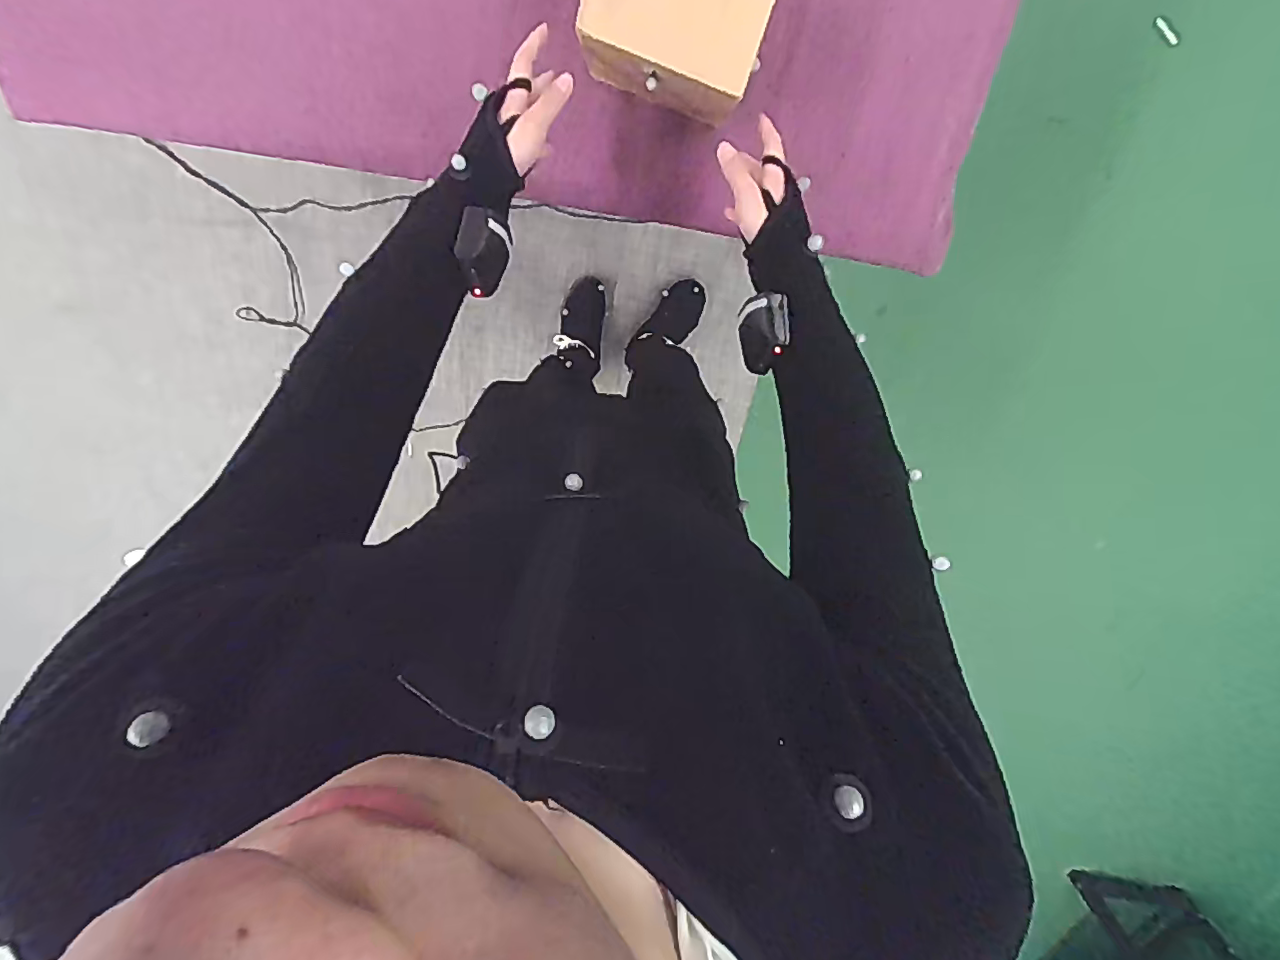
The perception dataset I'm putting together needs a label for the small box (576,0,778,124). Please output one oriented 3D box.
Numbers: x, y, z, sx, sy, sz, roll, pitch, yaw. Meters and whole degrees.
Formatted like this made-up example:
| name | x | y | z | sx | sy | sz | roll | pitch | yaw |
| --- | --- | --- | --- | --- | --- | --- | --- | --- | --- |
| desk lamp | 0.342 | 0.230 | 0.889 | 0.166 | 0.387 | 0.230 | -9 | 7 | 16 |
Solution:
| name | x | y | z | sx | sy | sz | roll | pitch | yaw |
| --- | --- | --- | --- | --- | --- | --- | --- | --- | --- |
| small box | 0.047 | -0.504 | 0.567 | 0.179 | 0.176 | 0.168 | 18 | 114 | -8 |
